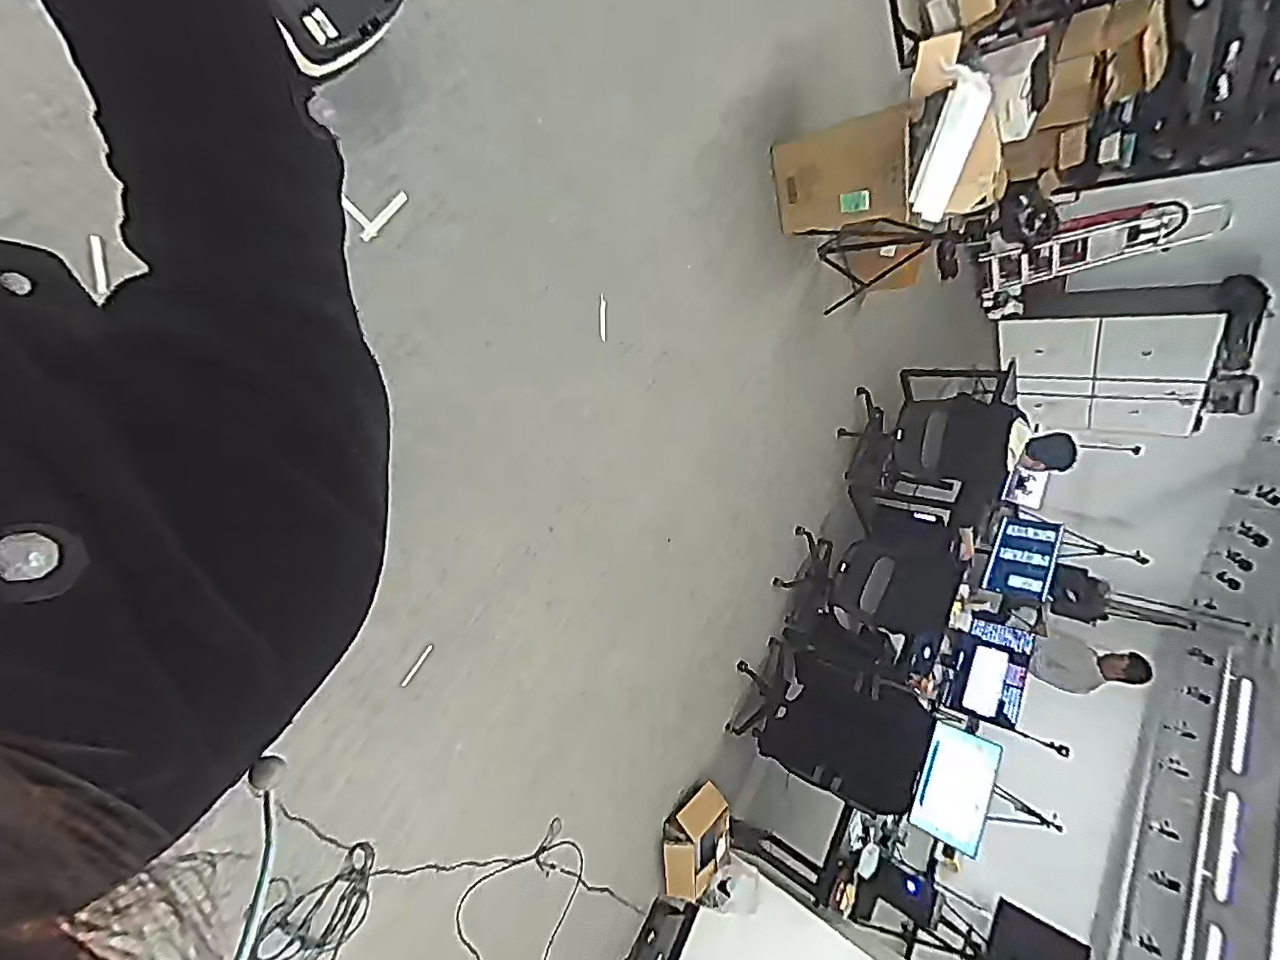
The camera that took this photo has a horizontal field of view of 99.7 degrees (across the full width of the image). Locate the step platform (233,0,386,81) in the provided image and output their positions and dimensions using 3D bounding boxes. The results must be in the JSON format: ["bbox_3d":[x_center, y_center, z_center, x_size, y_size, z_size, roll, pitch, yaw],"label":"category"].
[{"bbox_3d":[-0.802,-1.163,0.972,0.286,0.204,0.684,-54,132,-24],"label":"step platform"}]
